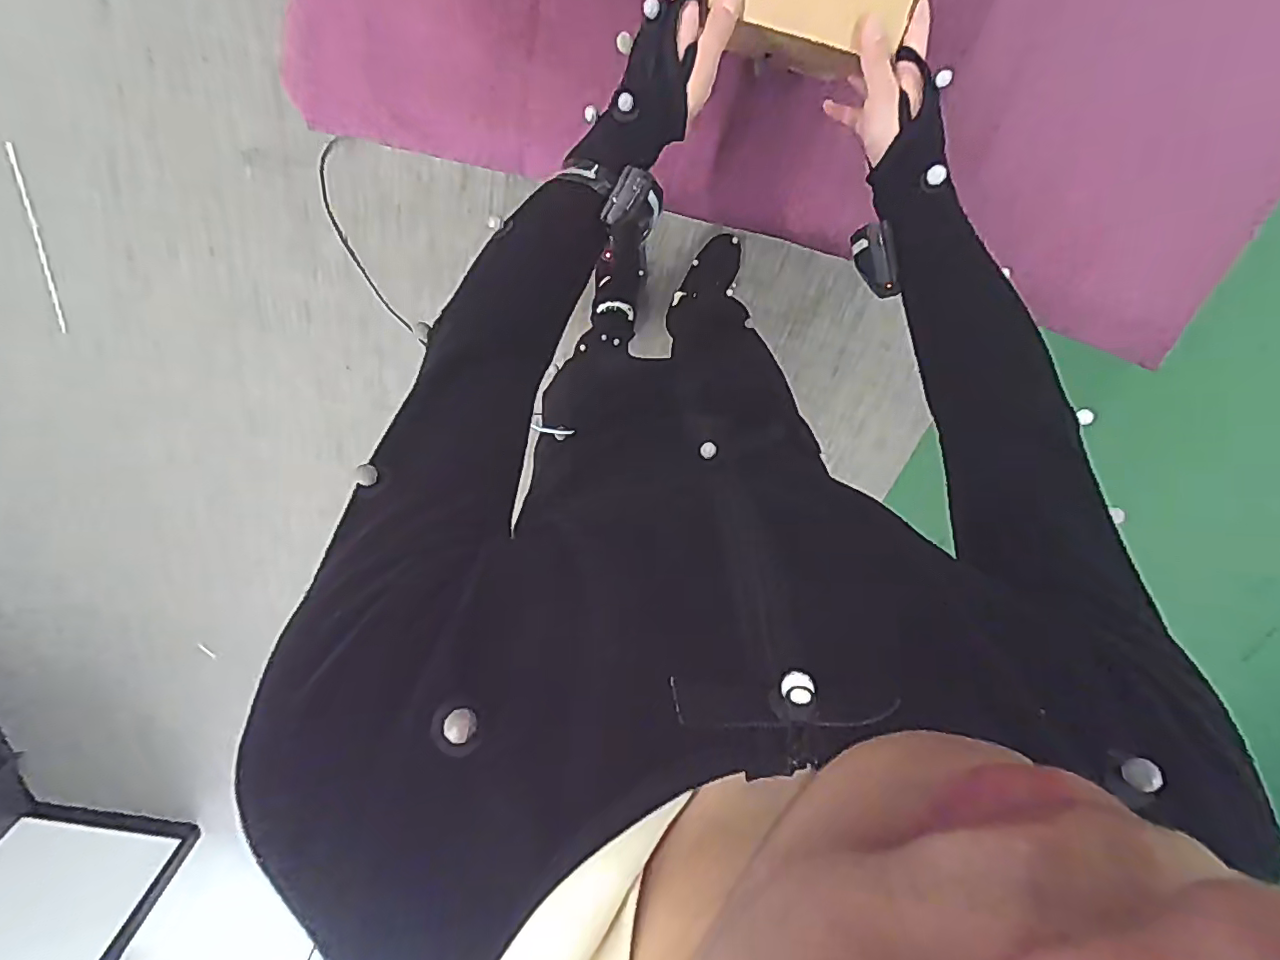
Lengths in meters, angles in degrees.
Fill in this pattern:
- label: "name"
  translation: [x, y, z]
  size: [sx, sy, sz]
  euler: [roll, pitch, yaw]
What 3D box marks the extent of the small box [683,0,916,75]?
- label: "small box"
  translation: [0.150, -0.488, 0.487]
  size: [0.179, 0.176, 0.168]
  euler: [9, 122, -10]
